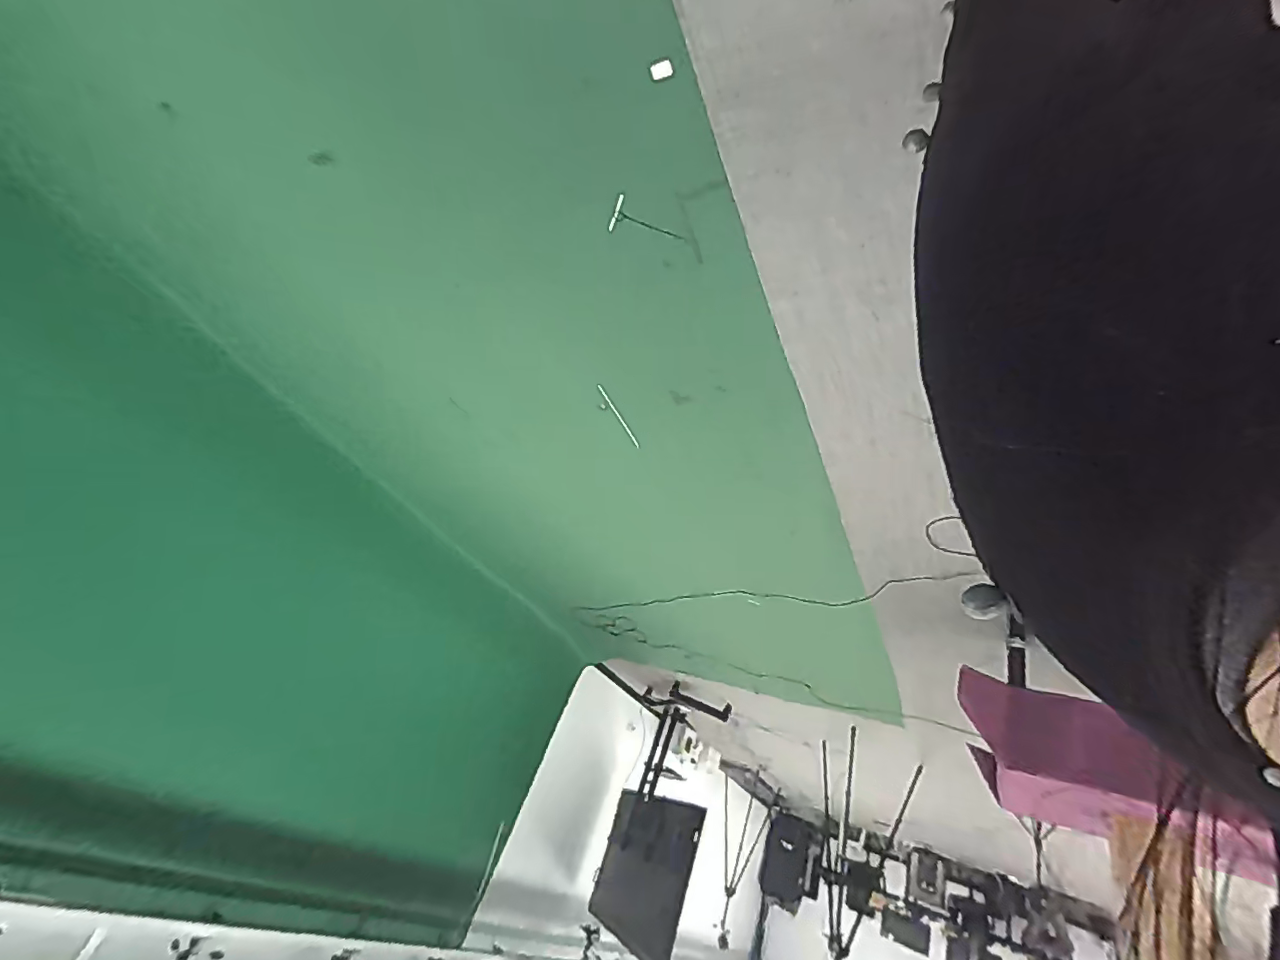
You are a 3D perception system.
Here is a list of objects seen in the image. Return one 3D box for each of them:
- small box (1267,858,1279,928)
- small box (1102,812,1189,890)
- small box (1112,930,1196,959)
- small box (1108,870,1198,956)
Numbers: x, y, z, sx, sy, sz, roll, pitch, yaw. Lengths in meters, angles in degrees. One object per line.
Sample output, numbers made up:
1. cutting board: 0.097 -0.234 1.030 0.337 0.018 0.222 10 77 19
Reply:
1. small box: 1.976 1.227 1.559 0.179 0.176 0.168 0 141 35
2. small box: 1.648 1.219 1.772 0.179 0.176 0.168 2 141 34
3. small box: 1.533 1.476 1.603 0.179 0.176 0.168 -1 139 34
4. small box: 1.590 1.347 1.687 0.179 0.176 0.168 0 140 34
